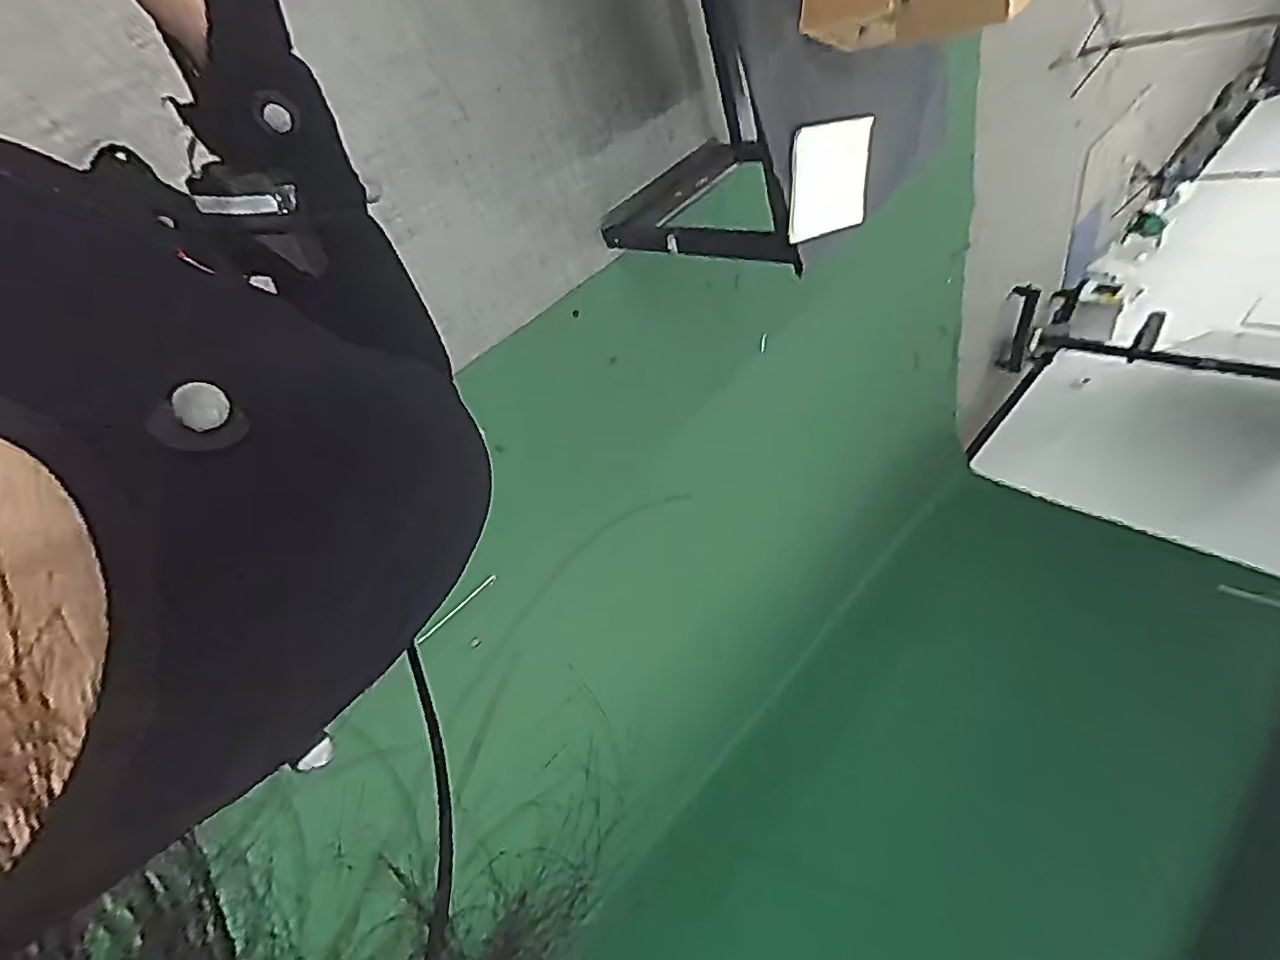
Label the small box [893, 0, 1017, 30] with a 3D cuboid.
[{"bbox_3d":[0.481,-0.790,0.769,0.179,0.176,0.168,-47,134,-14],"label":"small box"}]

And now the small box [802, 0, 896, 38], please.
[{"bbox_3d":[0.387,-0.860,0.884,0.168,0.176,0.179,-18,122,-36],"label":"small box"}]
